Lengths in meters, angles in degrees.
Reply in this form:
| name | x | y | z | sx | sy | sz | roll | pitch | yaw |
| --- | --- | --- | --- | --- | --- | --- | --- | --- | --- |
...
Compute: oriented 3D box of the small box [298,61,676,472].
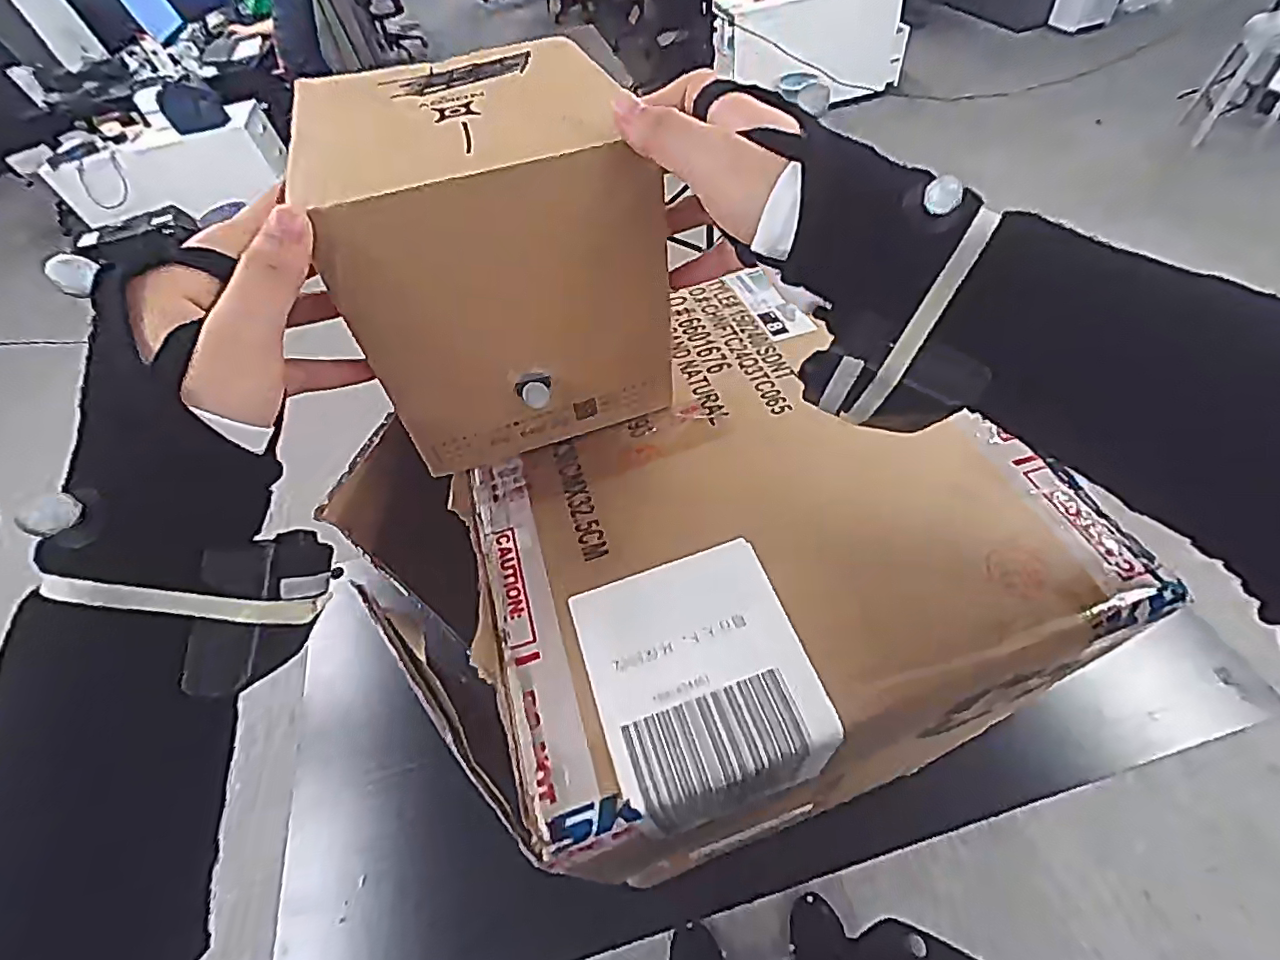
| name | x | y | z | sx | sy | sz | roll | pitch | yaw |
| --- | --- | --- | --- | --- | --- | --- | --- | --- | --- |
| small box | -0.083 | -0.135 | 0.346 | 0.168 | 0.176 | 0.179 | -18 | 51 | -9 |
